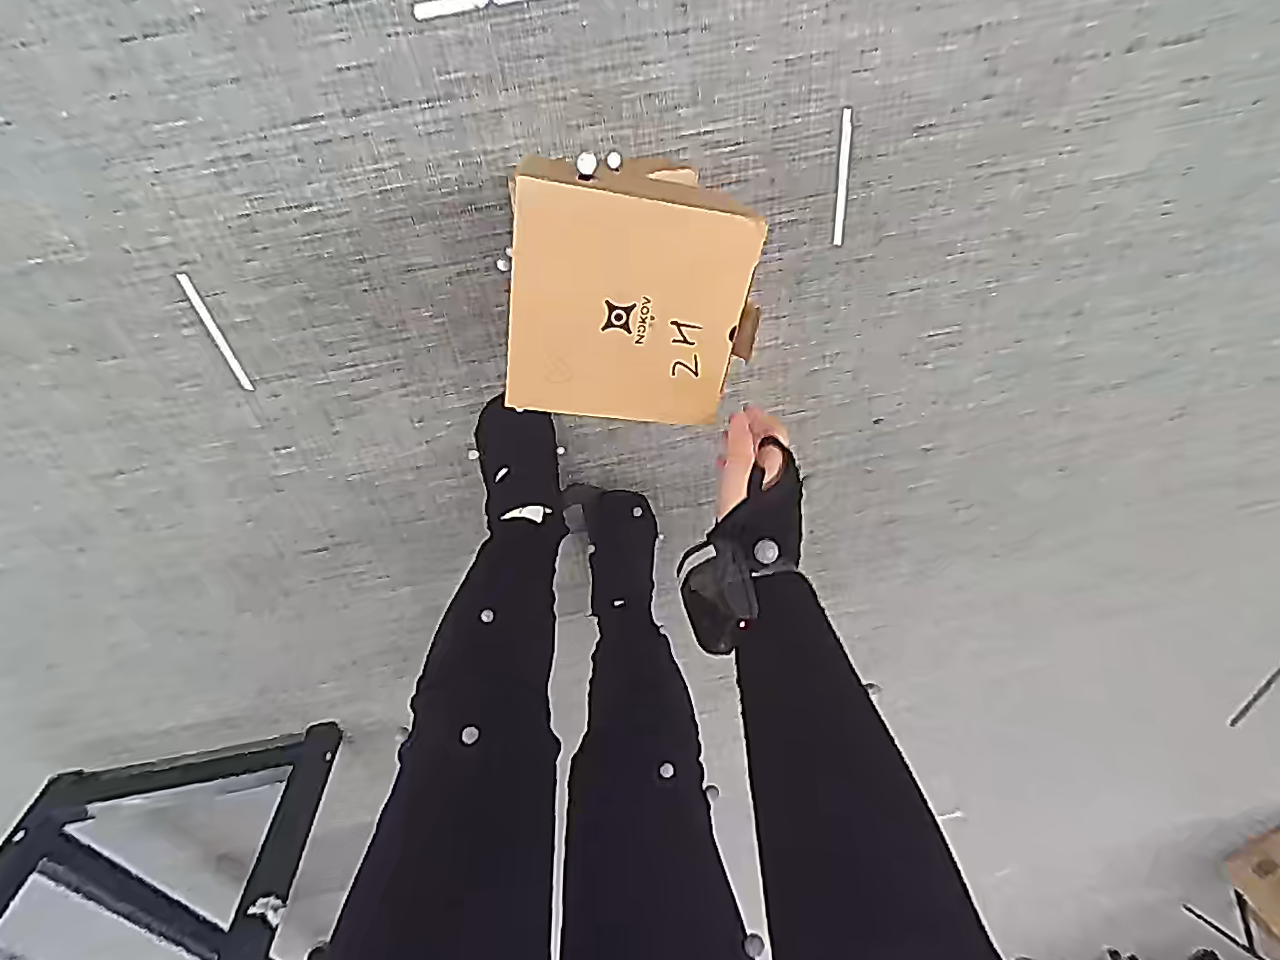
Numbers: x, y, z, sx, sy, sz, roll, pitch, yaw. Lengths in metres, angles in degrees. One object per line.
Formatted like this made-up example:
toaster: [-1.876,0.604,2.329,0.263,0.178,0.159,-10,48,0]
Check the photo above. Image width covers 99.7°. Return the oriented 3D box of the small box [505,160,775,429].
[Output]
small box: [-0.015,-0.163,0.461,0.179,0.176,0.168,5,124,-12]
